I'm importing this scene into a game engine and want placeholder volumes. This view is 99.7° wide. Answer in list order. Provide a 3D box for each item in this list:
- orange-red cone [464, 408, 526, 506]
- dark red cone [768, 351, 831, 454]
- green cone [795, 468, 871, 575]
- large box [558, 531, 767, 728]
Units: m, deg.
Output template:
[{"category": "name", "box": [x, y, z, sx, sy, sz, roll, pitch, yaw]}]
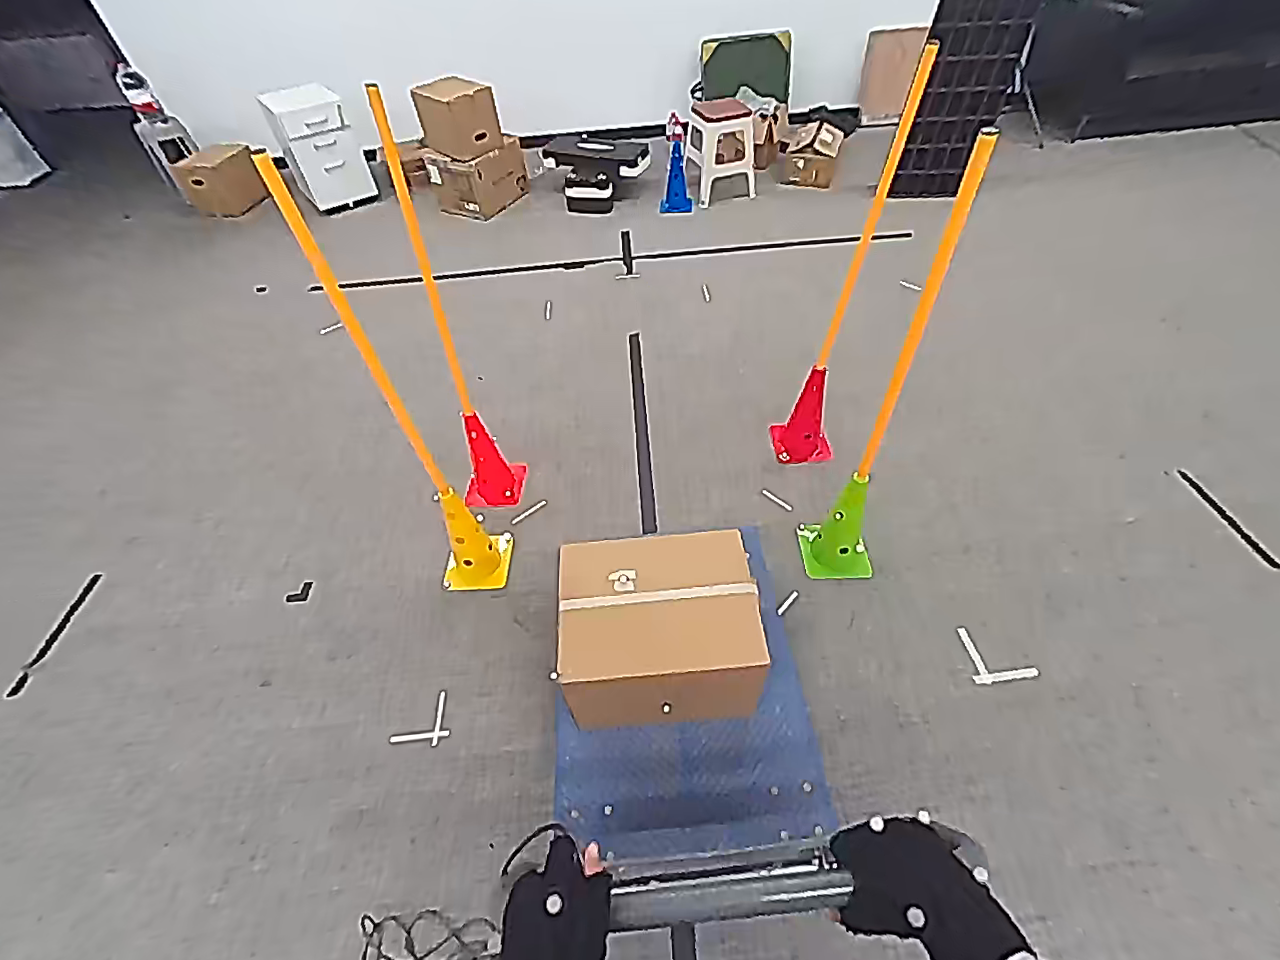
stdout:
[{"category": "orange-red cone", "box": [-0.532, -0.099, 1.840, 0.198, 0.360, 0.199, 1, 48, 4]}, {"category": "dark red cone", "box": [0.587, -0.276, 1.890, 0.201, 0.394, 0.202, -4, 50, -2]}, {"category": "green cone", "box": [0.602, 0.103, 1.587, 0.202, 0.368, 0.200, -1, 49, 1]}, {"category": "large box", "box": [0.042, 0.344, 1.228, 0.408, 0.320, 0.320, -6, 49, 0]}]
